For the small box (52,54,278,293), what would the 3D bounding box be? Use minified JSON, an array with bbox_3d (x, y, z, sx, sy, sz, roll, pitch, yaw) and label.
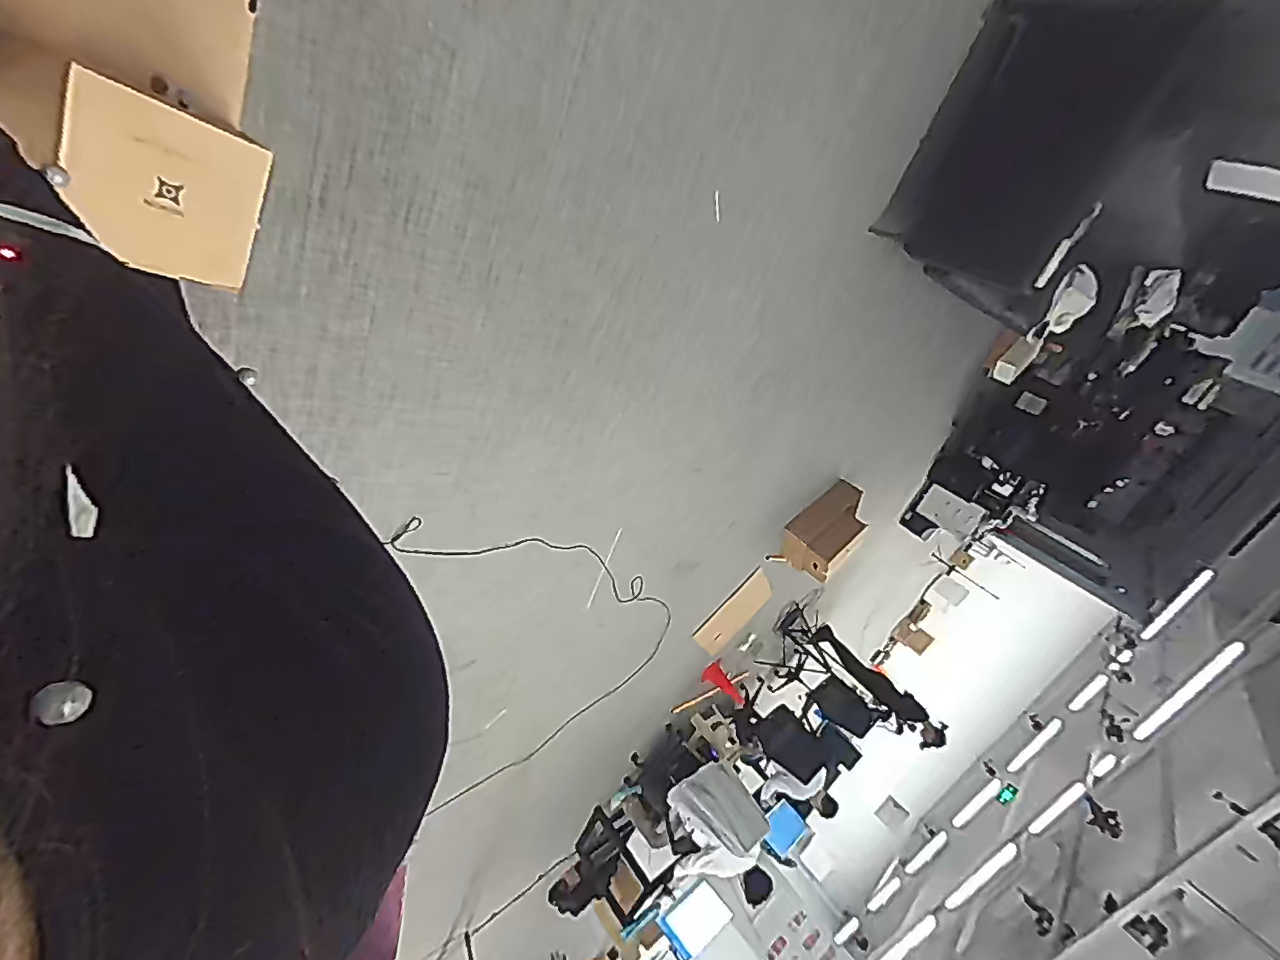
[{"bbox_3d":[-0.557,-0.351,0.631,0.168,0.176,0.179,4,118,-52],"label":"small box"}]
